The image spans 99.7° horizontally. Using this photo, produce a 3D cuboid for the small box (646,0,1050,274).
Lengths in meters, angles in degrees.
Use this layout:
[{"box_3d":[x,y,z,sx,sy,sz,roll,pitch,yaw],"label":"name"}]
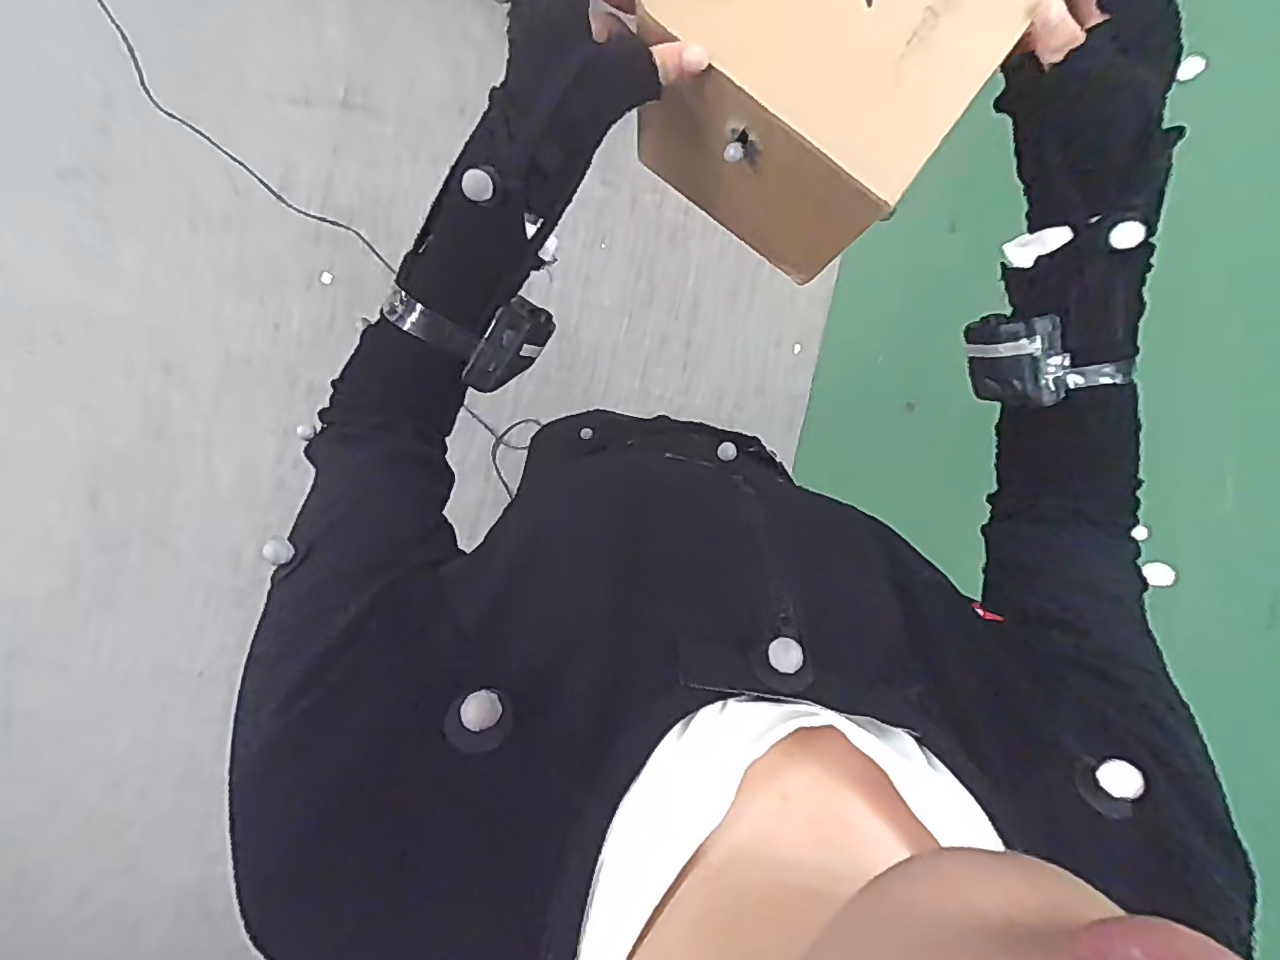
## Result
[{"box_3d":[0.117,-0.270,0.366,0.179,0.176,0.168,36,95,-4],"label":"small box"}]
